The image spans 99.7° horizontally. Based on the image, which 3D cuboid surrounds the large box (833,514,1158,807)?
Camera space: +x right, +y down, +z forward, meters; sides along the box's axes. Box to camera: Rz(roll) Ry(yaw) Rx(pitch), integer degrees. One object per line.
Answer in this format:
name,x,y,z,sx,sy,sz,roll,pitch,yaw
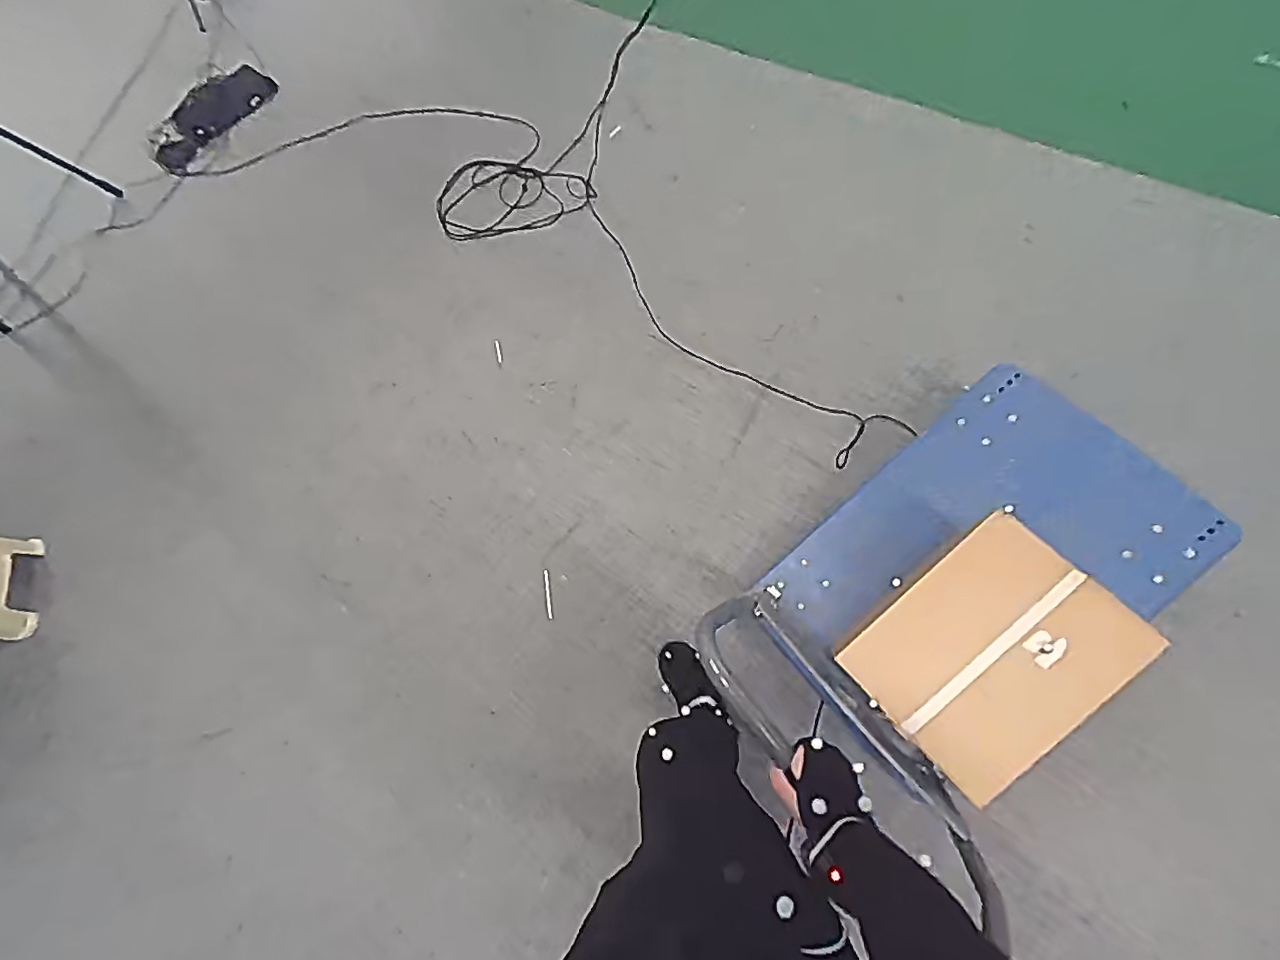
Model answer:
large box,0.643,0.337,1.070,0.408,0.320,0.320,-44,69,3
